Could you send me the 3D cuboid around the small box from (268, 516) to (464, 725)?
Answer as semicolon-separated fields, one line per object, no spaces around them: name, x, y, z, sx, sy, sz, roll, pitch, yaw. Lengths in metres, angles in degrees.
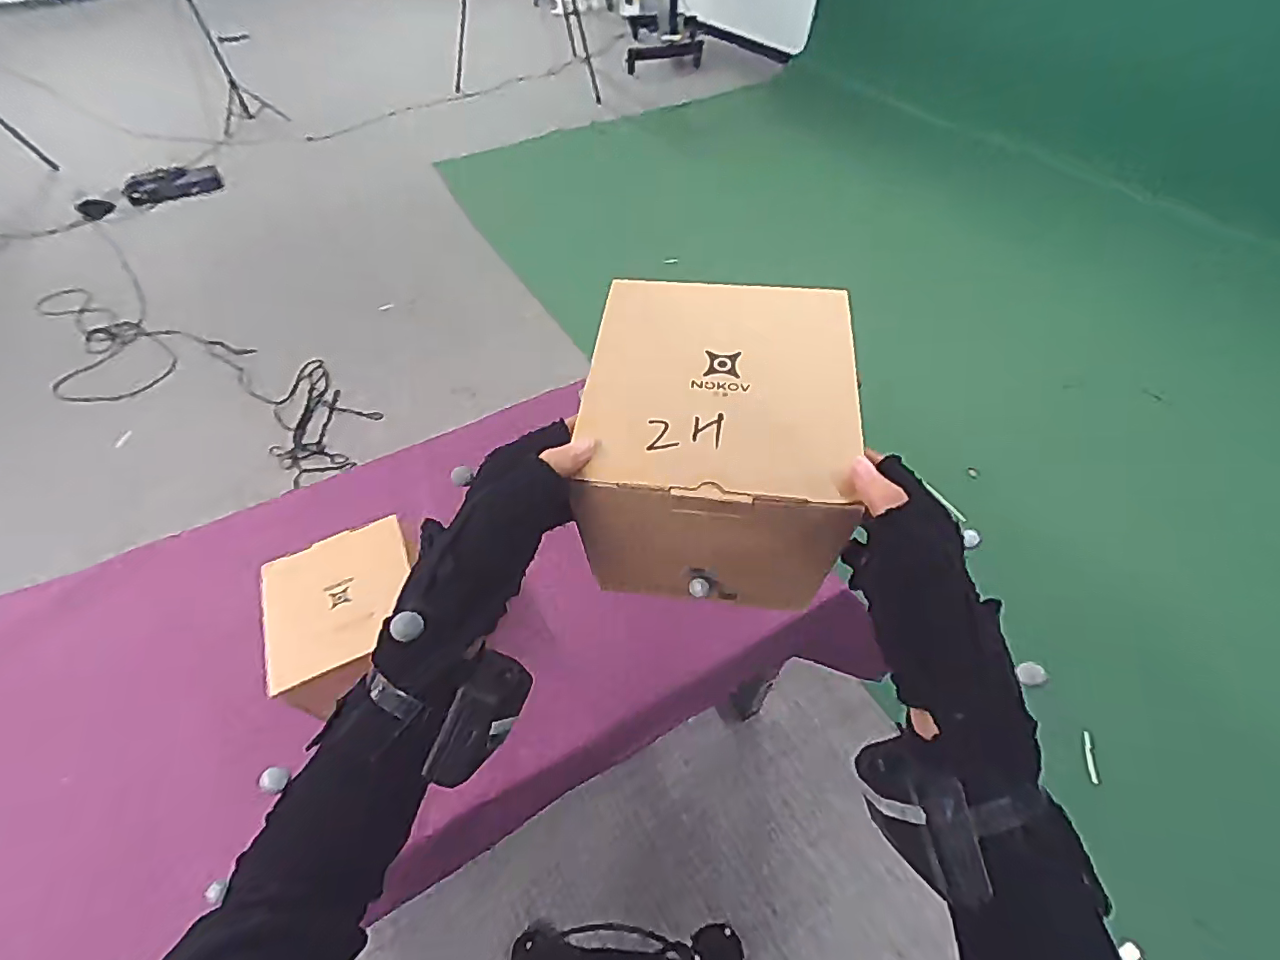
small box;-0.346;0.183;0.698;0.168;0.176;0.179;-22;55;-14

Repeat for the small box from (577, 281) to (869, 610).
small box;0.060;-0.022;0.410;0.168;0.176;0.179;6;58;8
